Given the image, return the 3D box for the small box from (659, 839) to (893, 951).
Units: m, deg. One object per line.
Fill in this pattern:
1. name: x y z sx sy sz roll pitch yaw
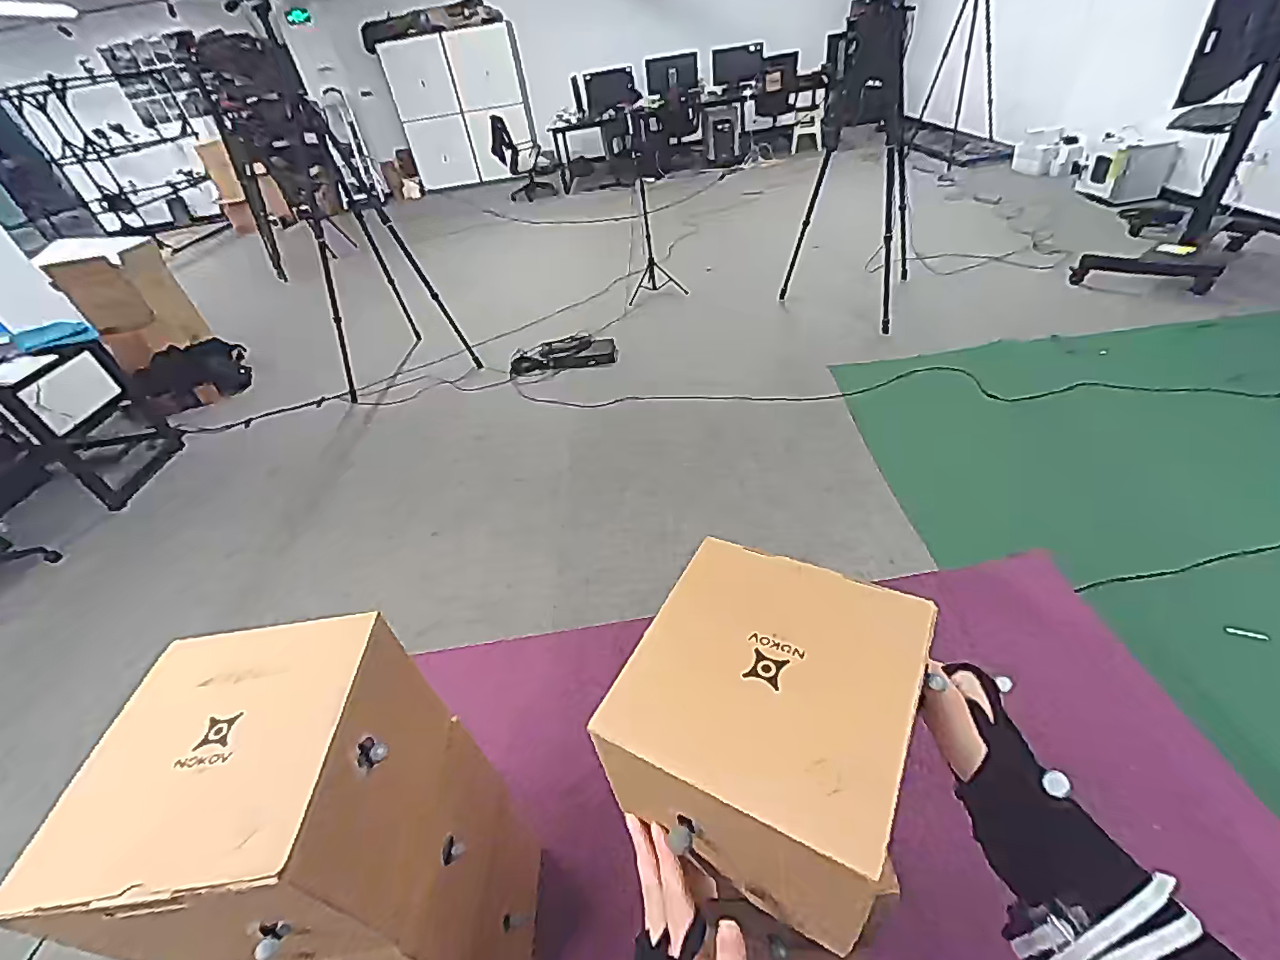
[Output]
1. small box: 0.105 0.299 0.495 0.168 0.176 0.179 -6 40 5

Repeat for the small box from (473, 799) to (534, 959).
1. small box: -0.224 0.478 0.606 0.168 0.176 0.179 -6 40 3

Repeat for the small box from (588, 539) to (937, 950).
1. small box: 0.091 0.179 0.385 0.168 0.176 0.179 17 45 28

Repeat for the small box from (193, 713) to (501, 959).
1. small box: -0.242 0.348 0.506 0.168 0.176 0.179 -6 39 4

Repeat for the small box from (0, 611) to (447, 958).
1. small box: -0.262 0.226 0.400 0.168 0.176 0.179 -7 39 2
